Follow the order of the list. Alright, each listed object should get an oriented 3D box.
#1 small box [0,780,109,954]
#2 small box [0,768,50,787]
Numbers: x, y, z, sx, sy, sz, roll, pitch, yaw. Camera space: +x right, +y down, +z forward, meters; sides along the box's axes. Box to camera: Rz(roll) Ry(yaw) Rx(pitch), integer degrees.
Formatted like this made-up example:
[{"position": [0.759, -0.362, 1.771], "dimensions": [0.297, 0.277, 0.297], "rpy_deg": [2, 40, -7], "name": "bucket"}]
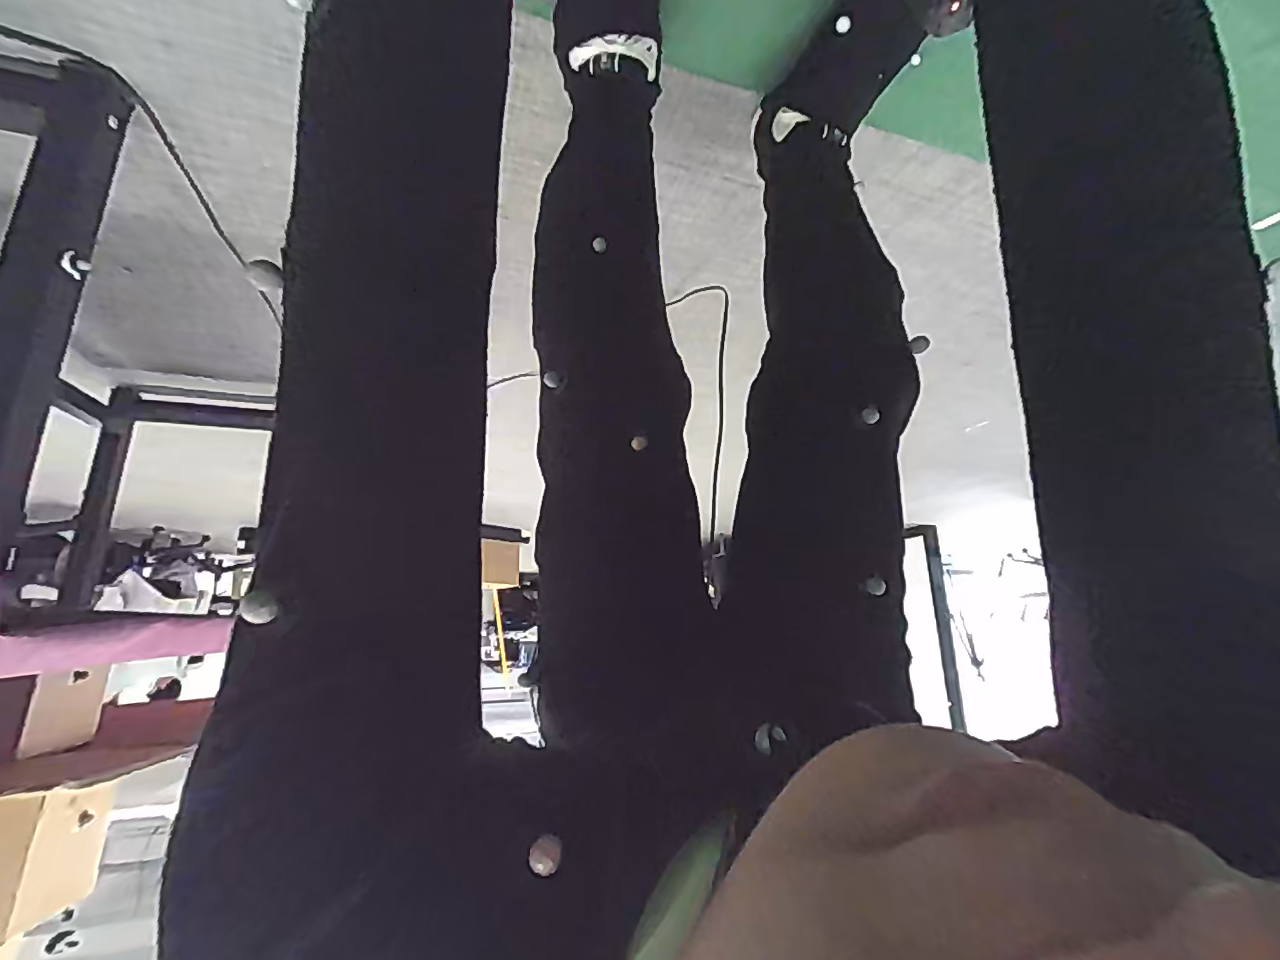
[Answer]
[{"position": [-0.864, 0.504, 0.707], "dimensions": [0.179, 0.176, 0.168], "rpy_deg": [2, 162, -15], "name": "small box"}, {"position": [-1.097, 0.561, 0.850], "dimensions": [0.179, 0.176, 0.168], "rpy_deg": [4, 160, -15], "name": "small box"}]
